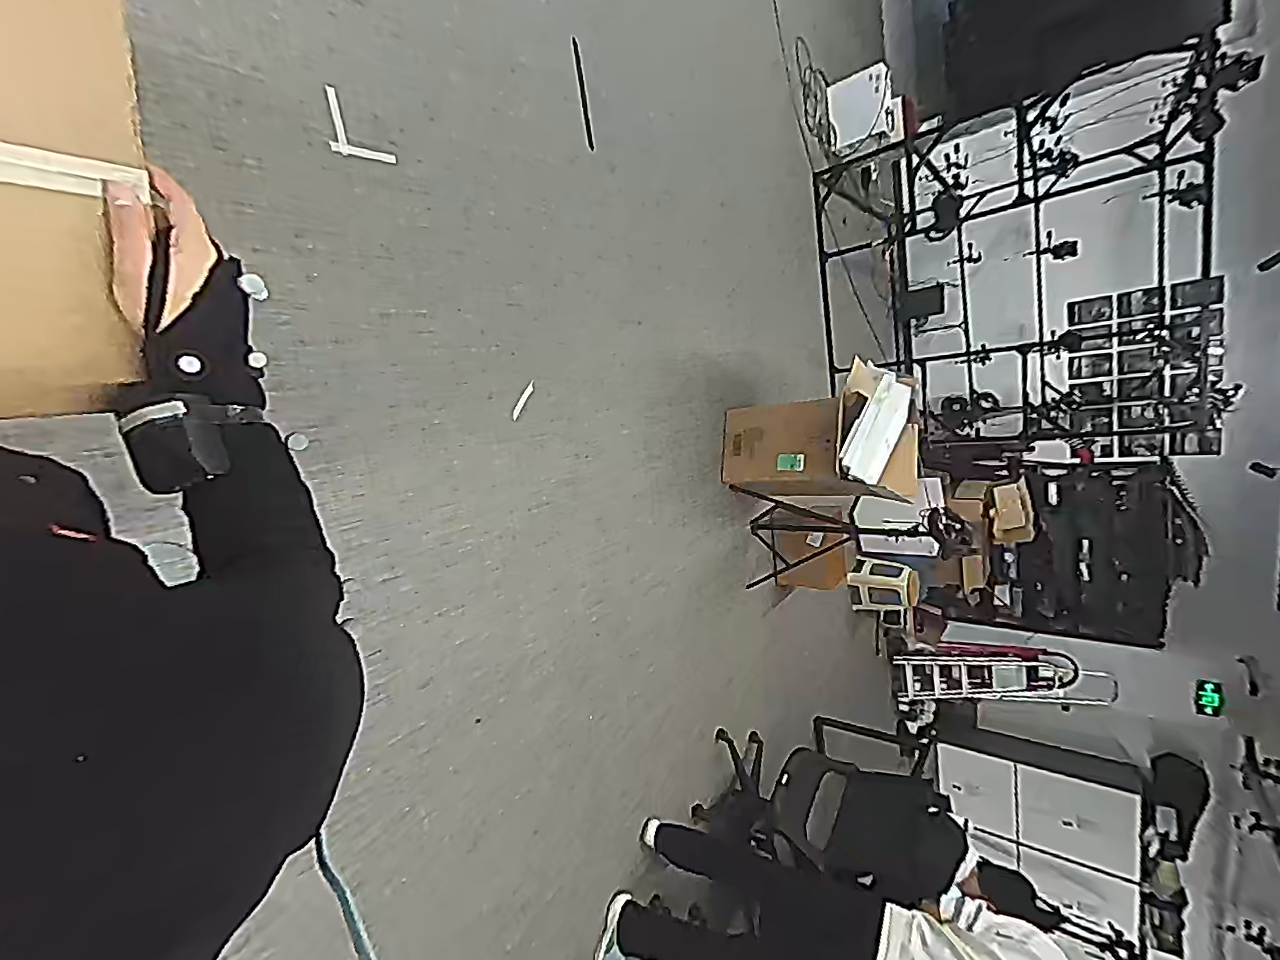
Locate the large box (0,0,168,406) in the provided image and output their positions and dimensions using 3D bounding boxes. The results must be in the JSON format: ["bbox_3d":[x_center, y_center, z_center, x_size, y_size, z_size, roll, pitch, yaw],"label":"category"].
[{"bbox_3d":[-0.577,-0.226,0.293,0.408,0.320,0.320,-17,129,-51],"label":"large box"}]
